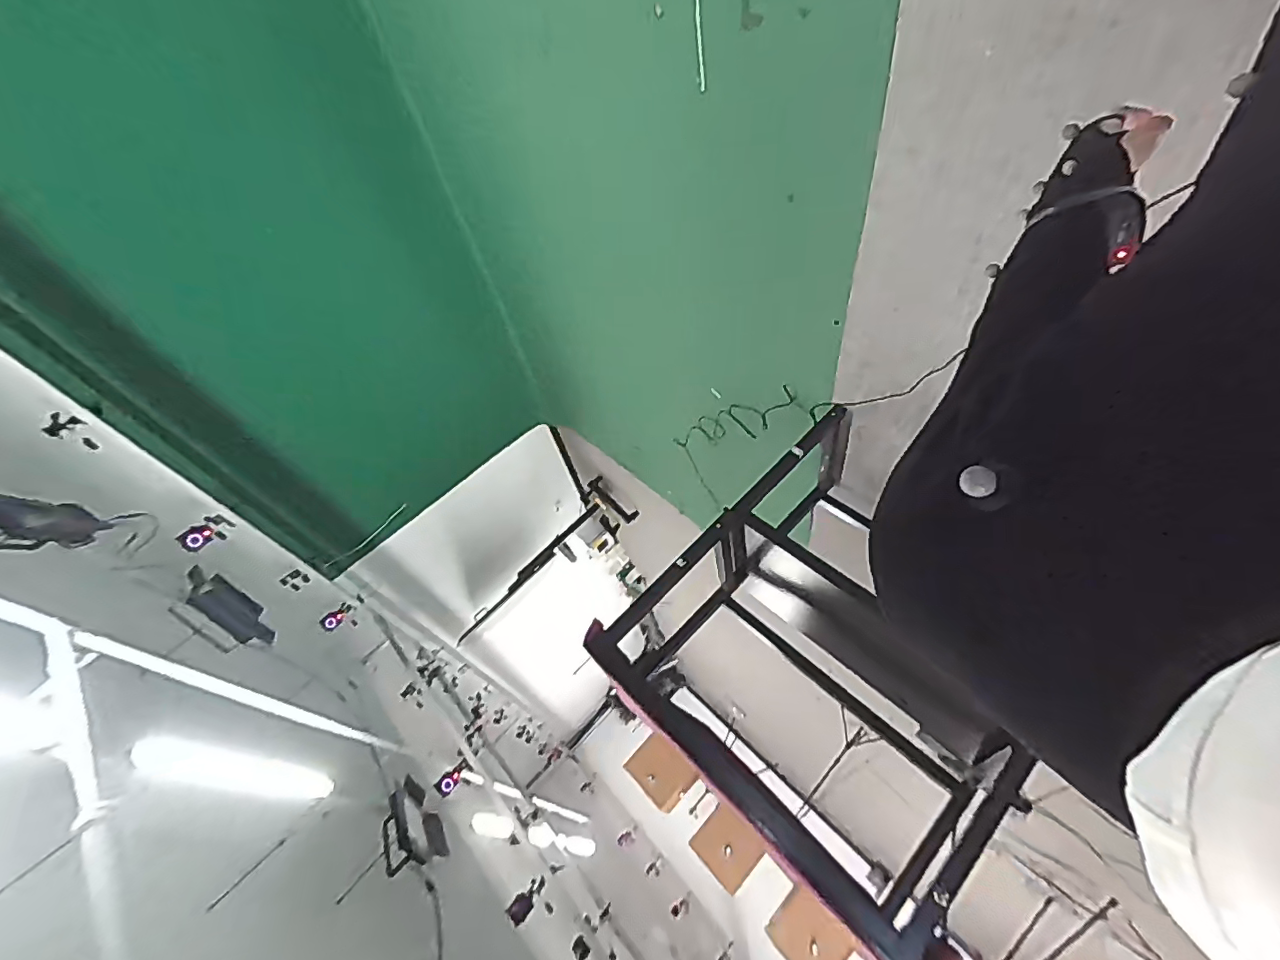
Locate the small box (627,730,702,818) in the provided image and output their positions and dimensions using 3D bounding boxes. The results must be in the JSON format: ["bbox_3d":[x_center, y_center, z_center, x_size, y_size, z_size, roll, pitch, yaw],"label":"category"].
[{"bbox_3d":[0.088,0.945,1.739,0.179,0.176,0.168,36,159,32],"label":"small box"}]

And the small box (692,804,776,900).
[{"bbox_3d":[0.276,1.089,1.599,0.179,0.176,0.168,37,159,28],"label":"small box"}]

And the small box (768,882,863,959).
[{"bbox_3d":[0.468,1.227,1.445,0.179,0.176,0.168,37,158,30],"label":"small box"}]
